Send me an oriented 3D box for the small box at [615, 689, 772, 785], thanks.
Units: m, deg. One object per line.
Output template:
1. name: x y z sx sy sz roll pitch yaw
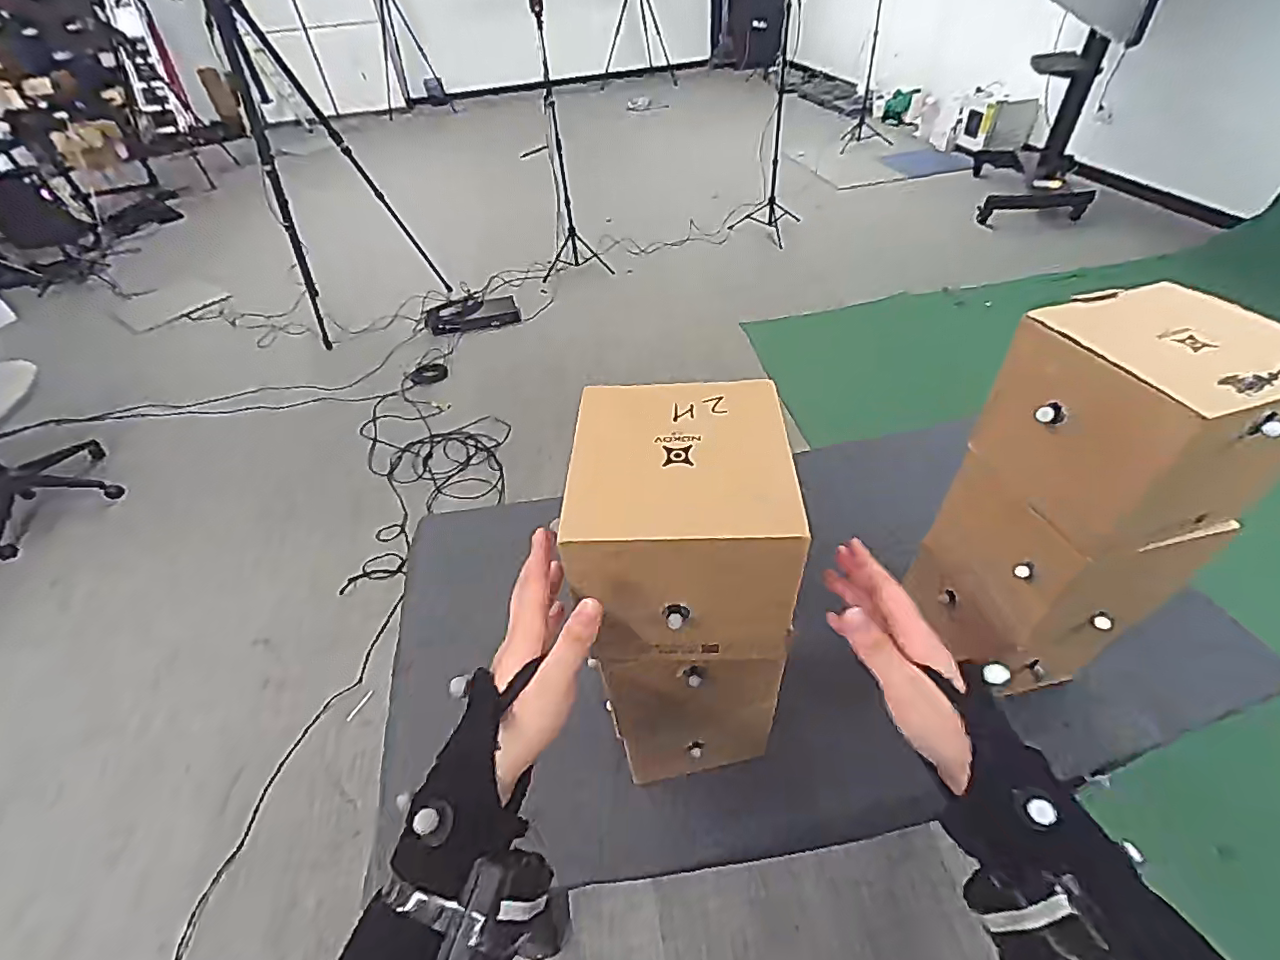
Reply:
1. small box: 0.052 0.262 0.691 0.179 0.176 0.168 -12 44 -4

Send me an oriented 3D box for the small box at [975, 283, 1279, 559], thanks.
1. small box: 0.459 -0.057 0.503 0.168 0.176 0.179 -14 44 -7

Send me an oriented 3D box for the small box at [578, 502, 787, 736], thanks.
1. small box: 0.038 0.150 0.576 0.179 0.176 0.168 -9 46 -5

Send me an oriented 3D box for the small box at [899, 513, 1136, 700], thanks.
1. small box: 0.487 0.176 0.732 0.168 0.176 0.179 -11 44 -6
